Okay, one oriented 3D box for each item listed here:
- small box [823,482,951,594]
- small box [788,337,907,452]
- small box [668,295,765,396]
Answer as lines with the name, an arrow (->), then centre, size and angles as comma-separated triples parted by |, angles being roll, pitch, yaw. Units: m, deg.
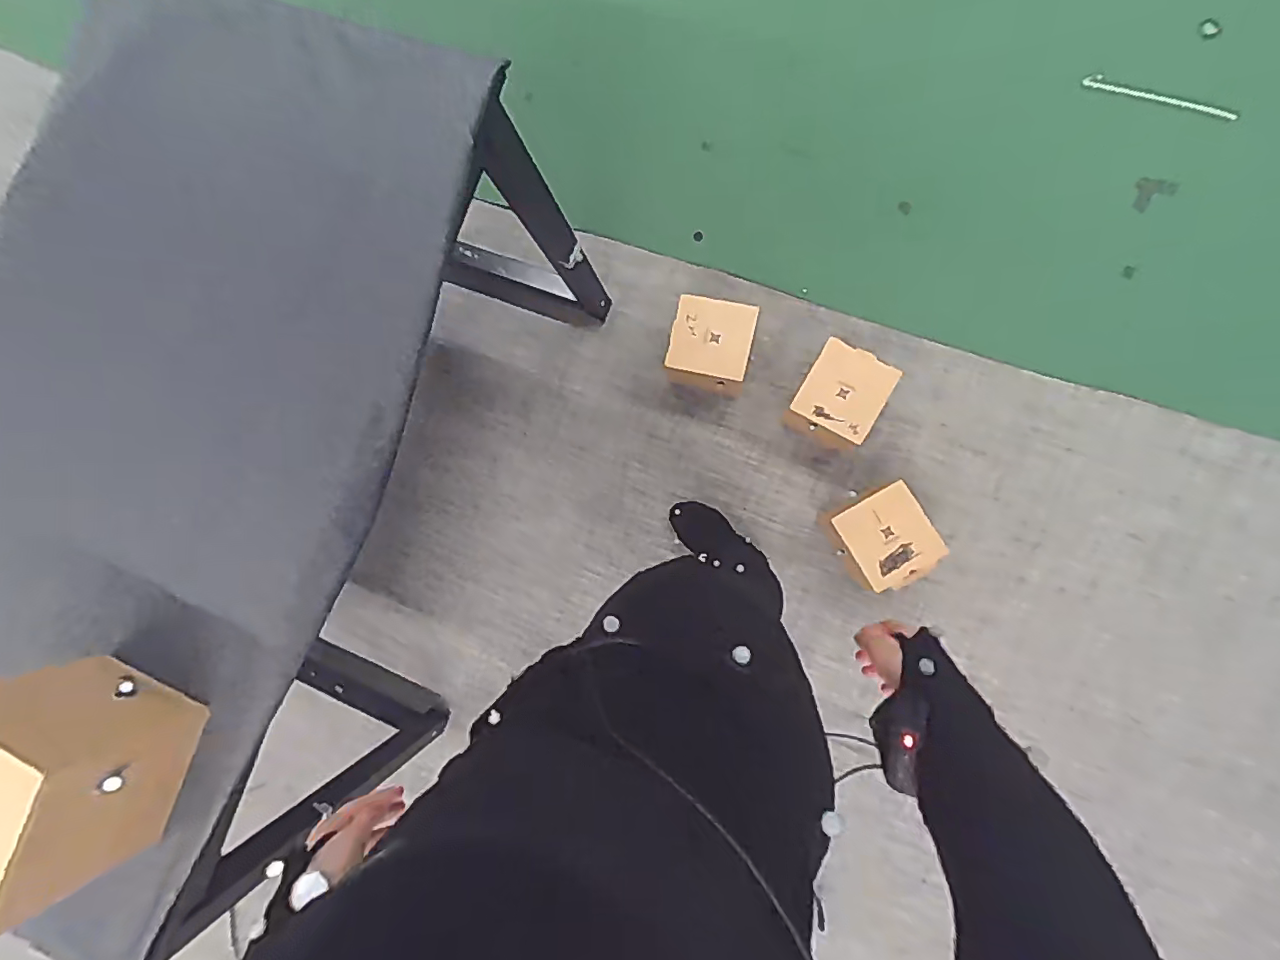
small box -> 0.519, 0.119, 1.162 | 0.168, 0.176, 0.179 | -31, 83, 6
small box -> 0.441, -0.179, 1.186 | 0.168, 0.176, 0.179 | 31, 92, 8
small box -> 0.174, -0.298, 1.233 | 0.179, 0.176, 0.168 | 13, 89, 9
